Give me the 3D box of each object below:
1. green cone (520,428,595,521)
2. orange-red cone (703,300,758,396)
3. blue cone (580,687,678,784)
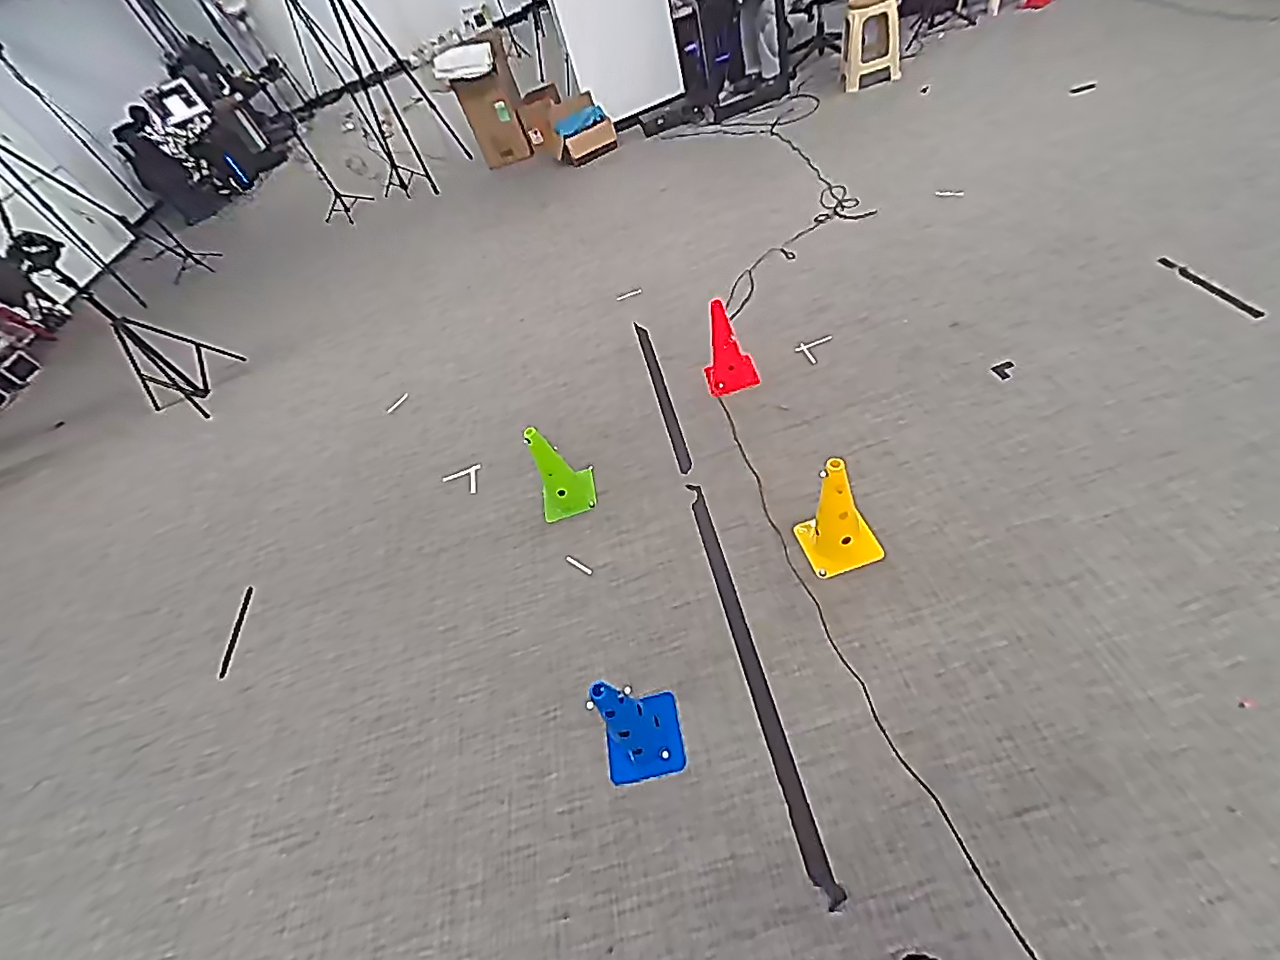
[{"bbox_3d":[-0.319,-0.053,1.908,0.202,0.368,0.200,-20,47,6],"label":"green cone"},{"bbox_3d":[0.320,-0.529,2.071,0.199,0.360,0.198,-15,49,7],"label":"orange-red cone"},{"bbox_3d":[-0.048,0.572,1.290,0.192,0.380,0.193,-17,47,9],"label":"blue cone"}]
